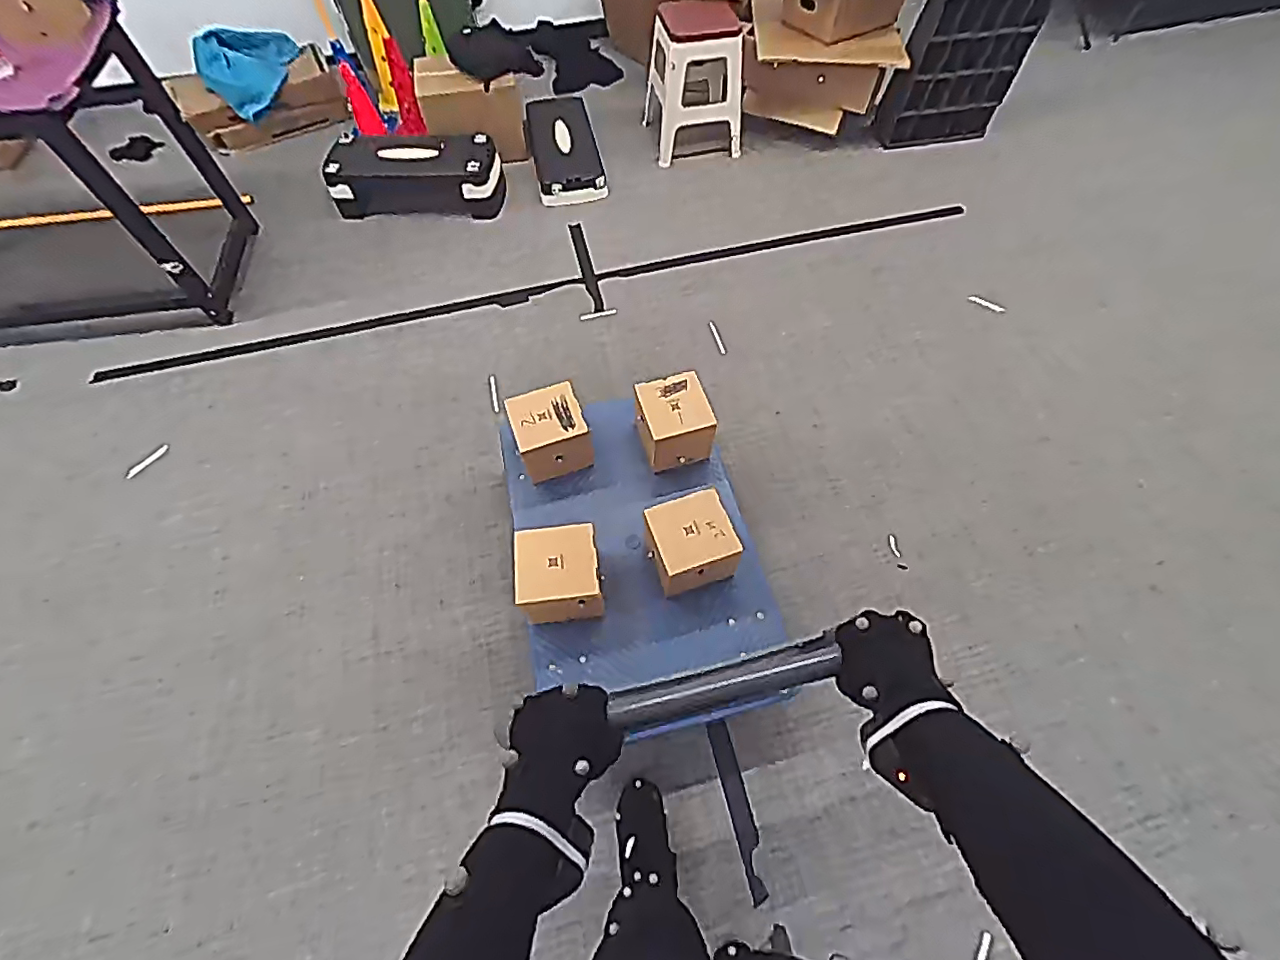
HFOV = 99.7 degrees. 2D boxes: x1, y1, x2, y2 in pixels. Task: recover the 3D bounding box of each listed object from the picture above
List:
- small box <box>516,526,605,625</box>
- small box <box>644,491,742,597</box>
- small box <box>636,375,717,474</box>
[{"bbox_3d":[-0.177,0.222,1.229,0.179,0.176,0.168,-6,61,-5],"label":"small box"},{"bbox_3d":[0.119,0.155,1.261,0.179,0.176,0.168,-17,63,-8],"label":"small box"},{"bbox_3d":[0.089,-0.143,1.422,0.168,0.176,0.179,-15,64,-7],"label":"small box"}]
